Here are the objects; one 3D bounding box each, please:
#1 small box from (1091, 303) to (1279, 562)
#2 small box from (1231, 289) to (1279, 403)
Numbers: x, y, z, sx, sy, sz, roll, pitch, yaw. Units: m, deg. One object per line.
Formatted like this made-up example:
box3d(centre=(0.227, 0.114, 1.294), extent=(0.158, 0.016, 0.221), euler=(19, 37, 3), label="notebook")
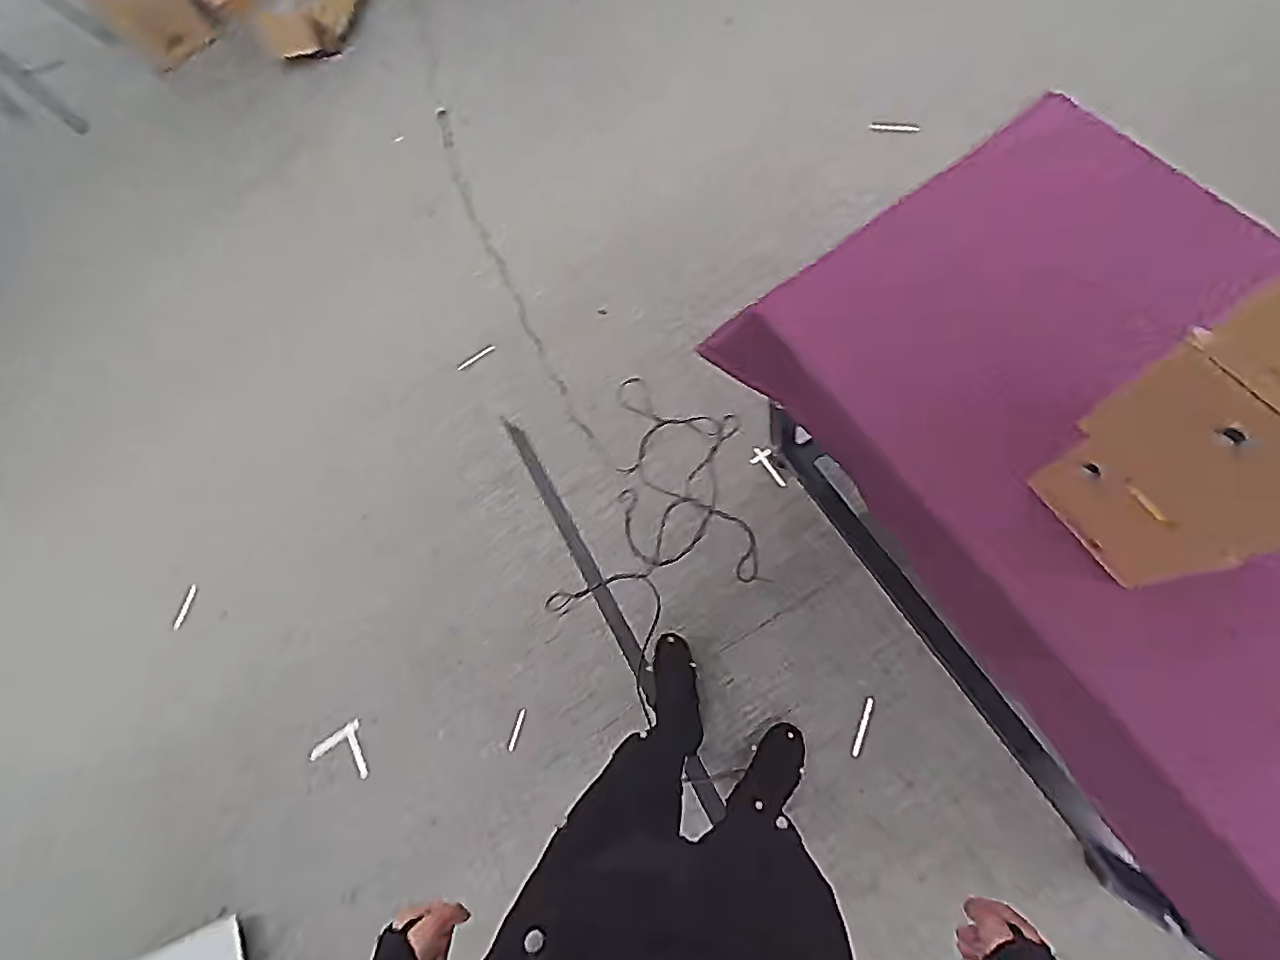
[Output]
box3d(centre=(0.557, -0.051, 0.464), extent=(0.168, 0.176, 0.179), euler=(-30, 68, 3), label="small box")
box3d(centre=(0.527, -0.106, 0.314), extent=(0.179, 0.176, 0.168), euler=(-30, 67, 1), label="small box")
